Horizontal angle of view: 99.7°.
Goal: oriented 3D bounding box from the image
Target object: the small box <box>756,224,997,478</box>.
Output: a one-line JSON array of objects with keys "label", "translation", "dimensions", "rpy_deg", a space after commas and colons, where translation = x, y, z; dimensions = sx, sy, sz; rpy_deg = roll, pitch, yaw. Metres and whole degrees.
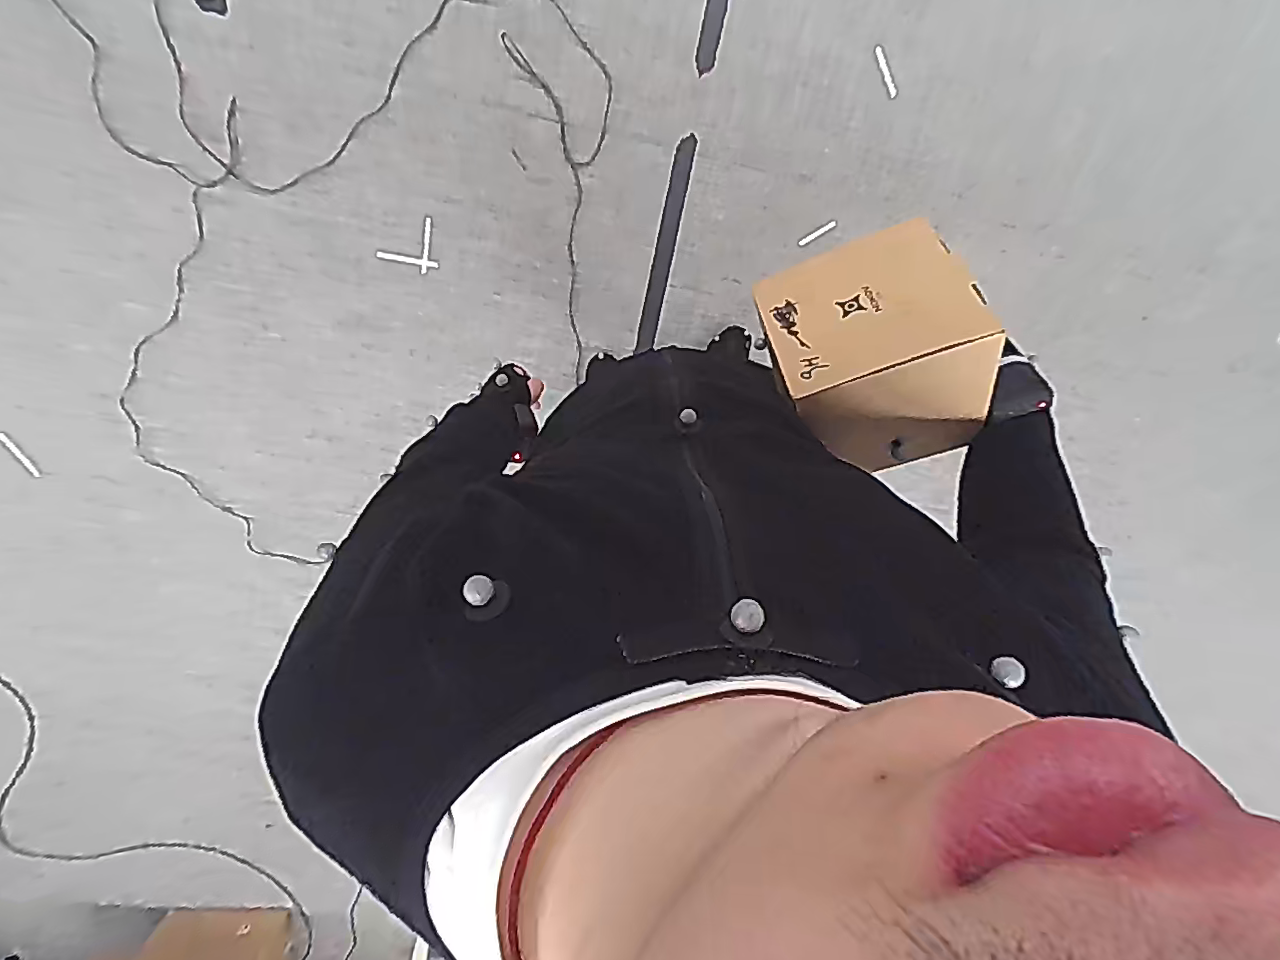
[{"label": "small box", "translation": [0.241, -0.127, 0.581], "dimensions": [0.179, 0.168, 0.176], "rpy_deg": [-18, 144, 14]}]
